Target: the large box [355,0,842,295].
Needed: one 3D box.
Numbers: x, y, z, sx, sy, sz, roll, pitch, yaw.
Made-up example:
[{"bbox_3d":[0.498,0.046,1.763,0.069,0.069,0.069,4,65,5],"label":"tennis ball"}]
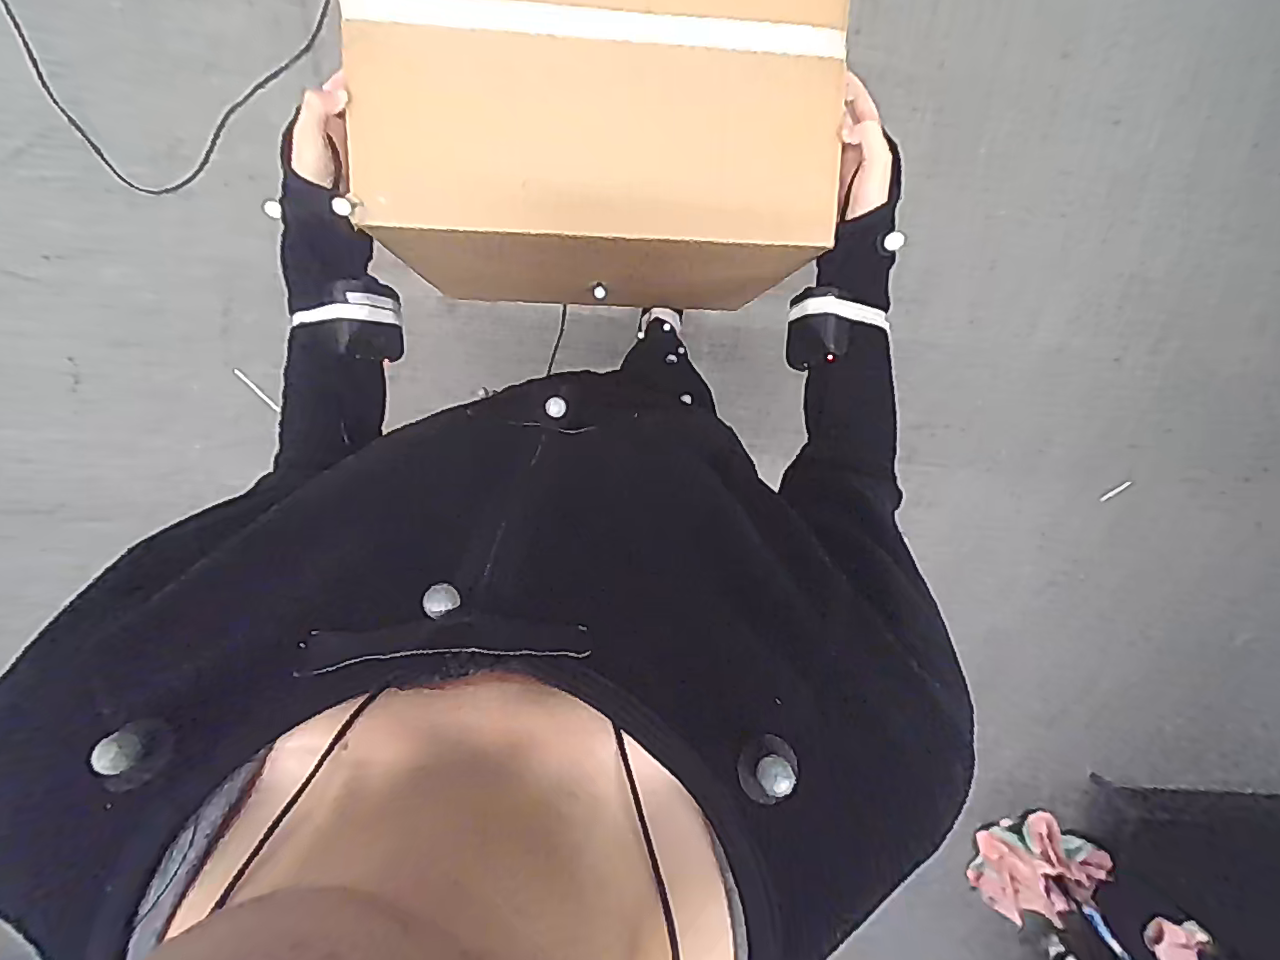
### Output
[{"bbox_3d":[-0.039,-0.388,0.590,0.408,0.320,0.320,0,98,-5],"label":"large box"}]
